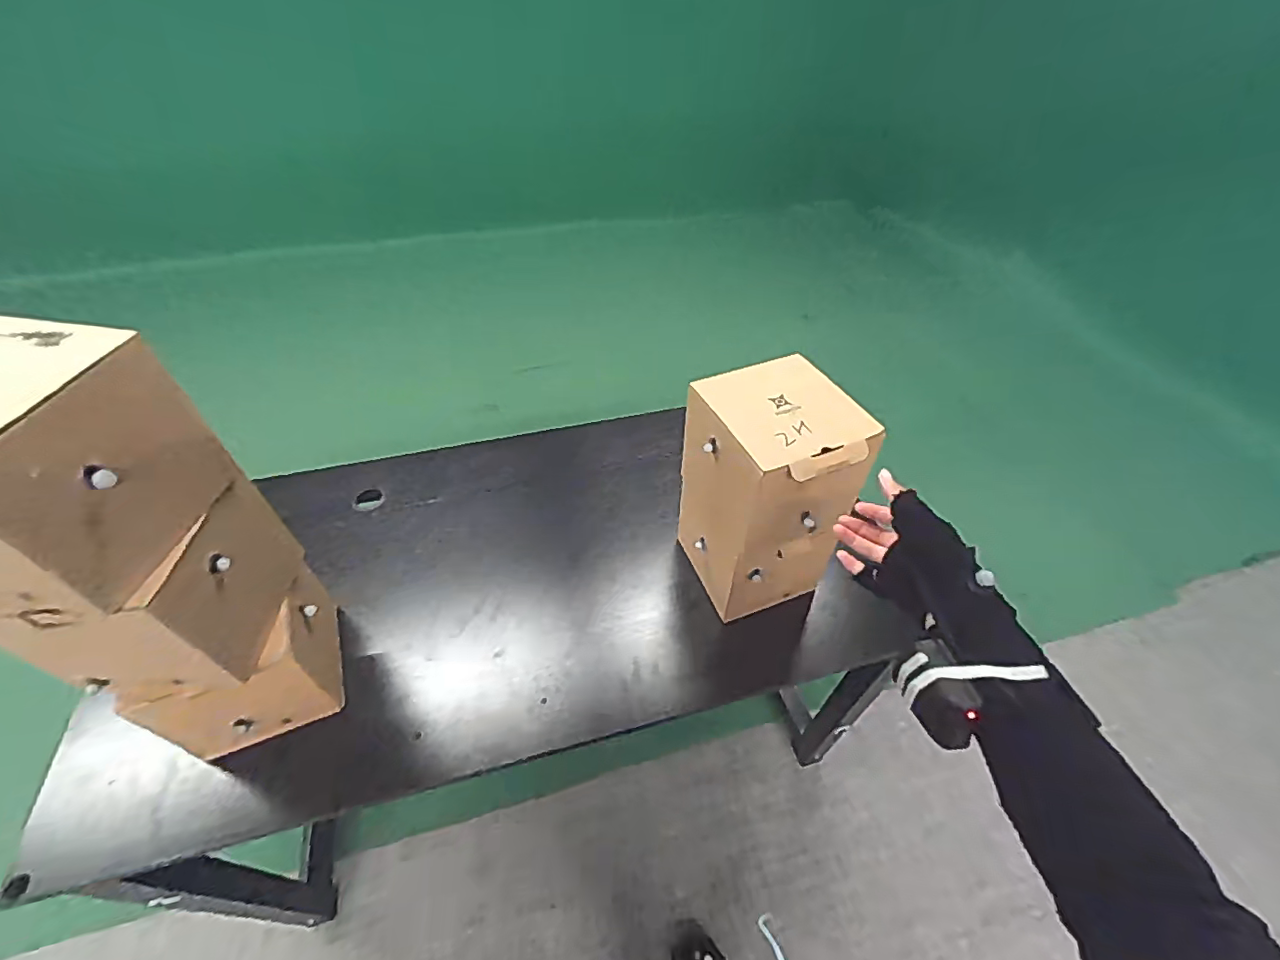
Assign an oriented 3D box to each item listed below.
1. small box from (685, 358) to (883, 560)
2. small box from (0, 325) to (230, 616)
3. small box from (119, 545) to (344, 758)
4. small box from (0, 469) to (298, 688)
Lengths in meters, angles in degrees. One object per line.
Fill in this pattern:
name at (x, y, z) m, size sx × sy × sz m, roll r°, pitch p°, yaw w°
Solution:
small box at (0.168, -0.028, 0.703) m, size 0.168 × 0.176 × 0.179 m, roll -18°, pitch 50°, yaw -16°
small box at (-0.502, -0.006, 0.452) m, size 0.168 × 0.176 × 0.179 m, roll 7°, pitch 49°, yaw 4°
small box at (-0.500, 0.218, 0.692) m, size 0.168 × 0.176 × 0.179 m, roll -18°, pitch 51°, yaw -17°
small box at (-0.501, 0.108, 0.570) m, size 0.168 × 0.176 × 0.179 m, roll -1°, pitch 47°, yaw -3°
